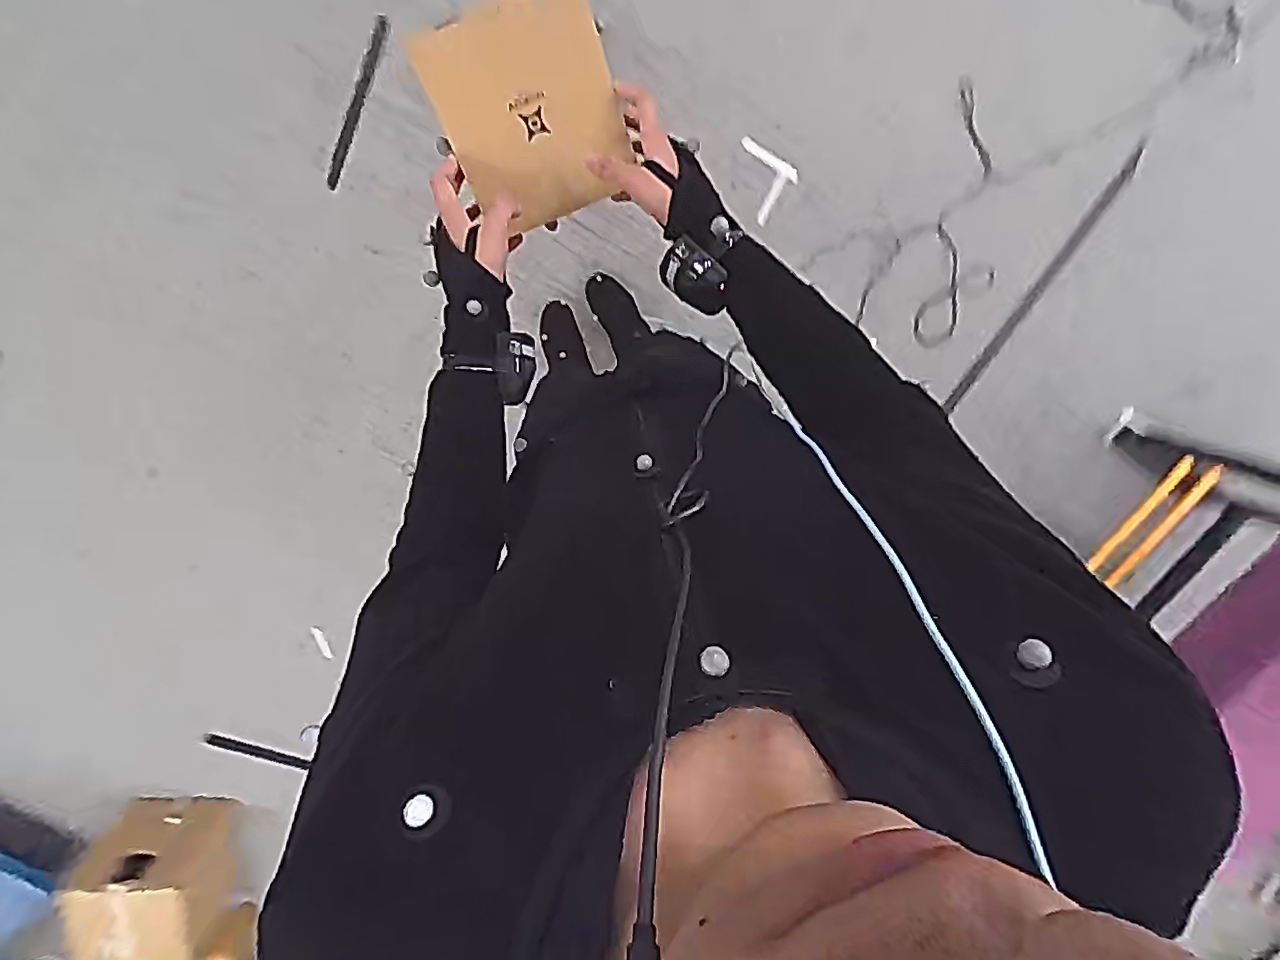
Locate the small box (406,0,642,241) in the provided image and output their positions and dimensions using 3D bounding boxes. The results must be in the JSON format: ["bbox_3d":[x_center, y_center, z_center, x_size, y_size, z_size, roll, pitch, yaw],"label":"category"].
[{"bbox_3d":[-0.110,-0.378,0.570,0.168,0.176,0.179,-21,120,2],"label":"small box"}]
